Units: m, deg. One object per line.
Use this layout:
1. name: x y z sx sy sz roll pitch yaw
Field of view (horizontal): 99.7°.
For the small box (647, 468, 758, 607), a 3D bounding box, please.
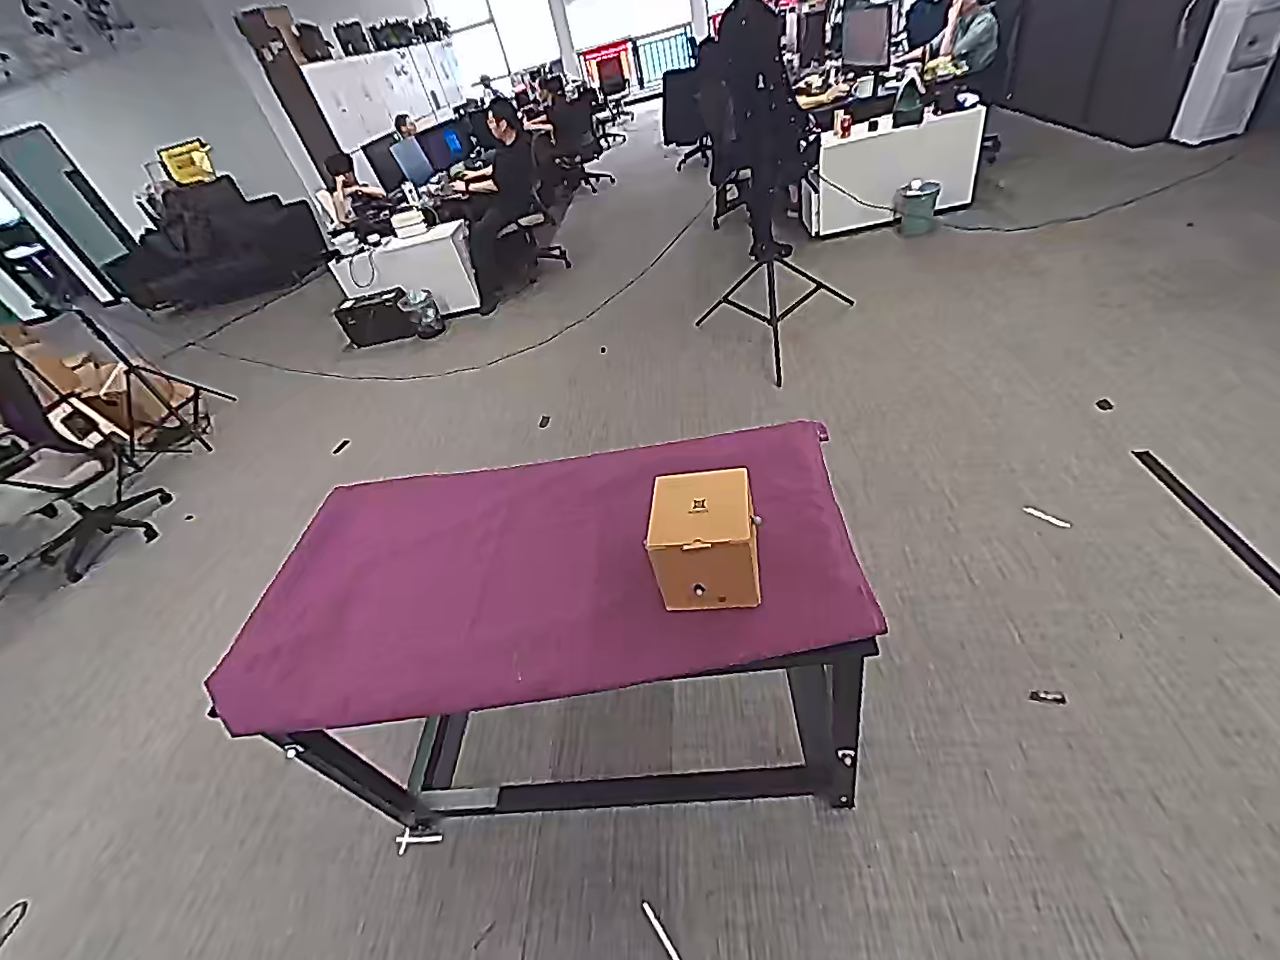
1. small box: 0.116 0.103 0.955 0.168 0.176 0.179 -6 40 13
